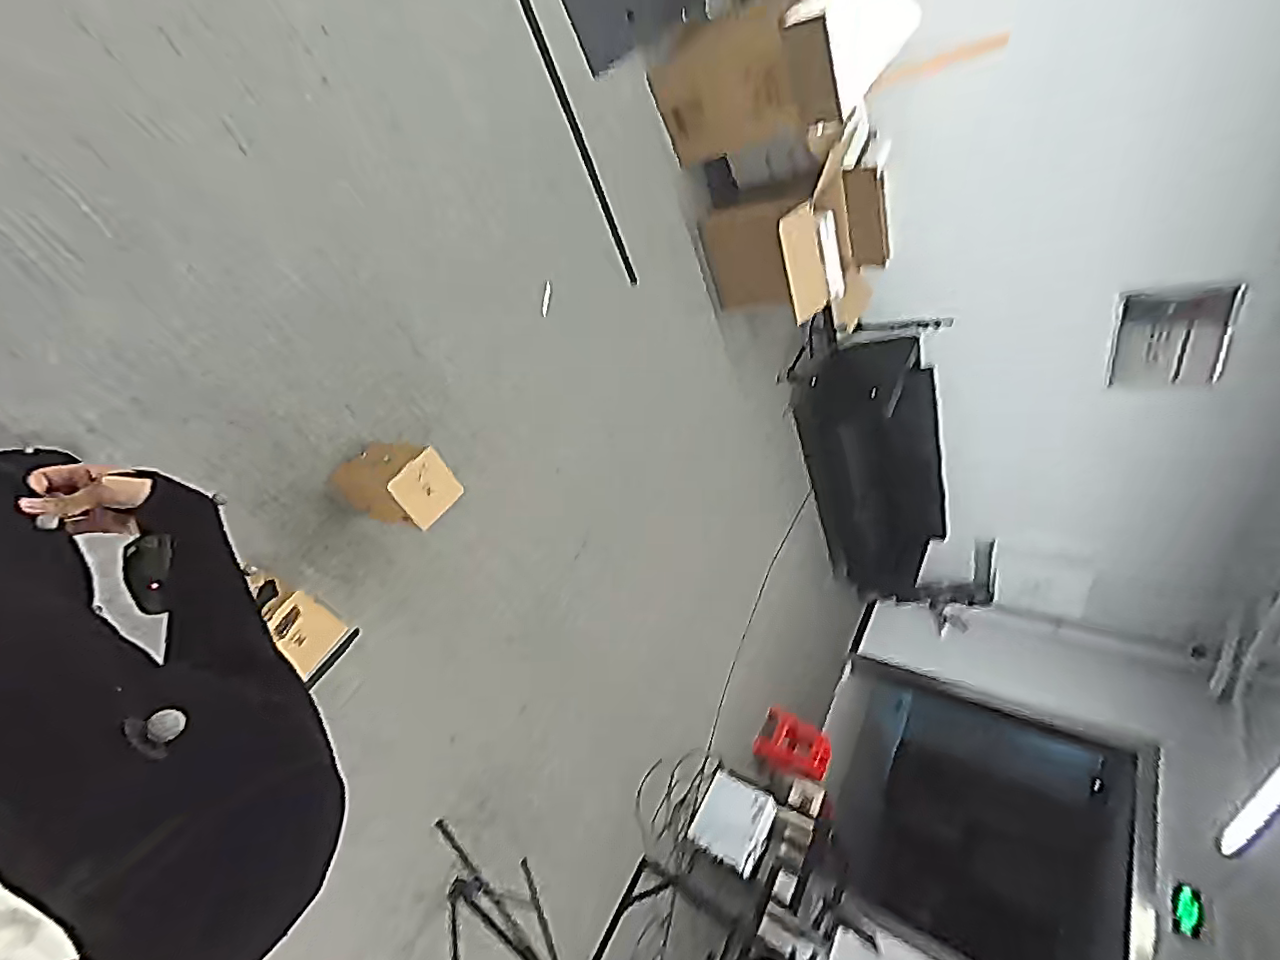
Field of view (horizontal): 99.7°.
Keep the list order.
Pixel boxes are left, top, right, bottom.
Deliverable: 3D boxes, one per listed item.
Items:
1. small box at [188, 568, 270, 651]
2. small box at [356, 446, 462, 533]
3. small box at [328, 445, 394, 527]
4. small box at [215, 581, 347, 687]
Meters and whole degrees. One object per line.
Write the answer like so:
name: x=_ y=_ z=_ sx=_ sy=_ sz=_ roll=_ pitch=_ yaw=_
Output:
small box: x=-0.992 y=0.343 z=1.376 sx=0.168 sy=0.176 sz=0.179 roll=-56 pitch=136 yaw=-30
small box: x=-0.640 y=0.020 z=1.502 sx=0.168 sy=0.176 sz=0.179 roll=-53 pitch=133 yaw=-34
small box: x=-0.771 y=0.011 z=1.600 sx=0.168 sy=0.176 sz=0.179 roll=-52 pitch=134 yaw=-34
small box: x=-0.855 y=0.357 z=1.286 sx=0.168 sy=0.176 sz=0.179 roll=-56 pitch=137 yaw=-30
